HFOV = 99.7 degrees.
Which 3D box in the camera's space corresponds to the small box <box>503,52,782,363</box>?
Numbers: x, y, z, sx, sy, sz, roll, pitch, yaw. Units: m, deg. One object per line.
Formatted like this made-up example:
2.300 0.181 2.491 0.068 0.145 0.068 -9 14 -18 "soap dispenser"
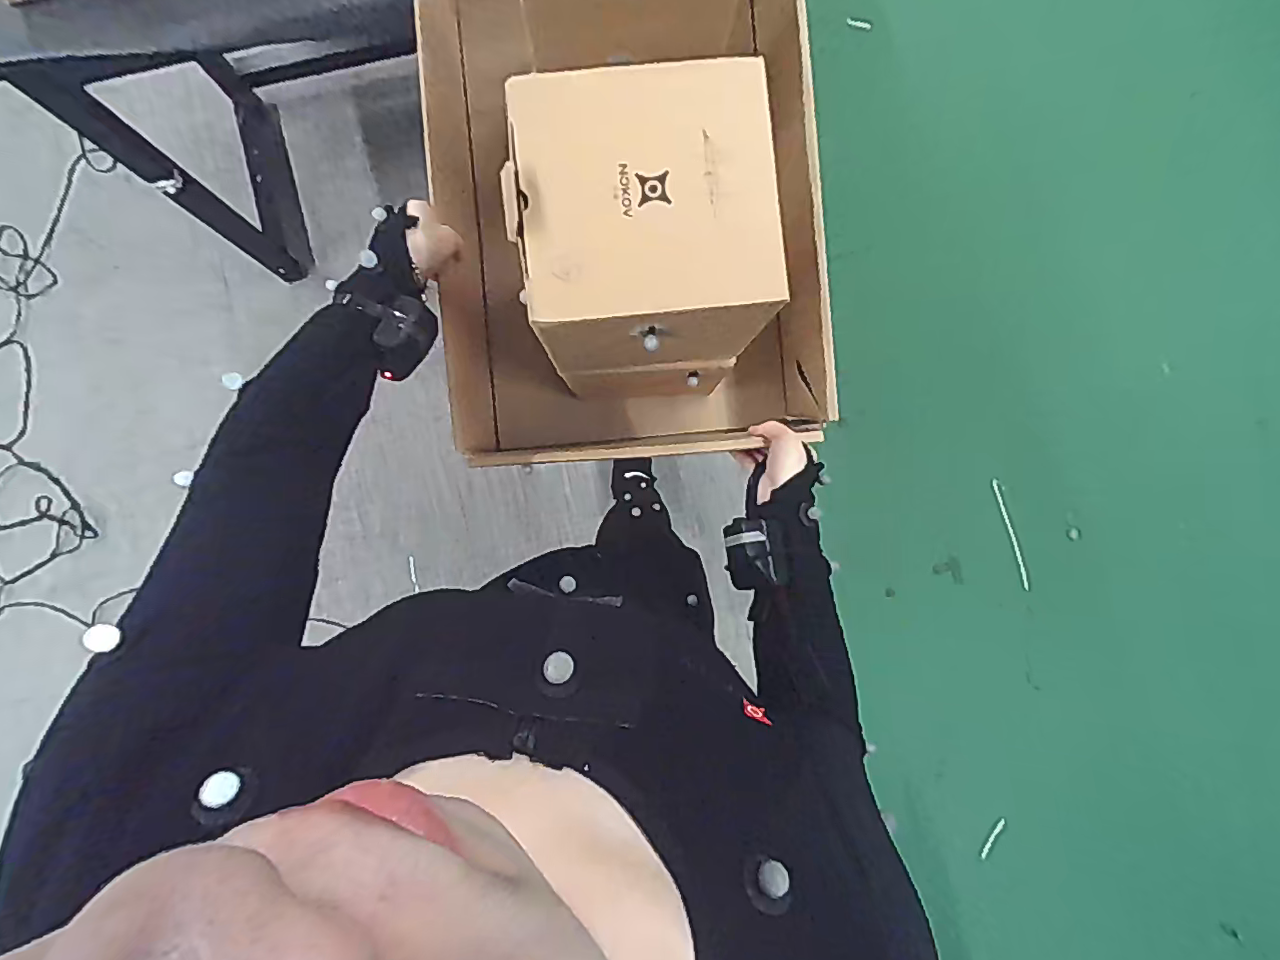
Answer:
0.000 -0.199 0.442 0.179 0.176 0.168 -7 91 -2 "small box"
